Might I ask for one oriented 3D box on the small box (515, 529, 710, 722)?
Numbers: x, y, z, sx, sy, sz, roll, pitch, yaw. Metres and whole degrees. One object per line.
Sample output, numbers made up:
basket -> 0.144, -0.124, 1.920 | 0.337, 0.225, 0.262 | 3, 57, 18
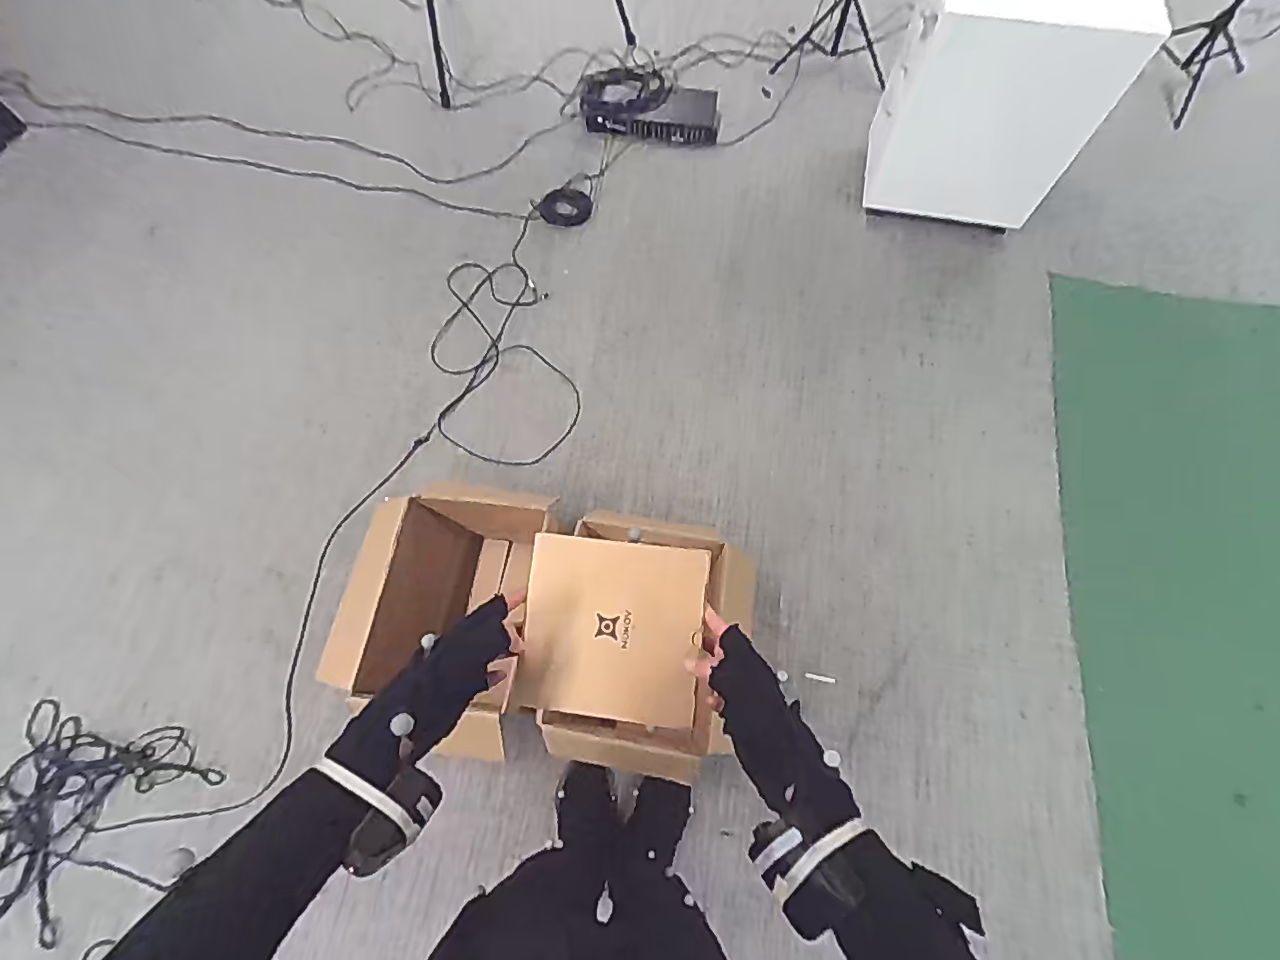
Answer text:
small box -> -0.021, 0.151, 0.601 | 0.179, 0.176, 0.168 | 5, 82, 4
